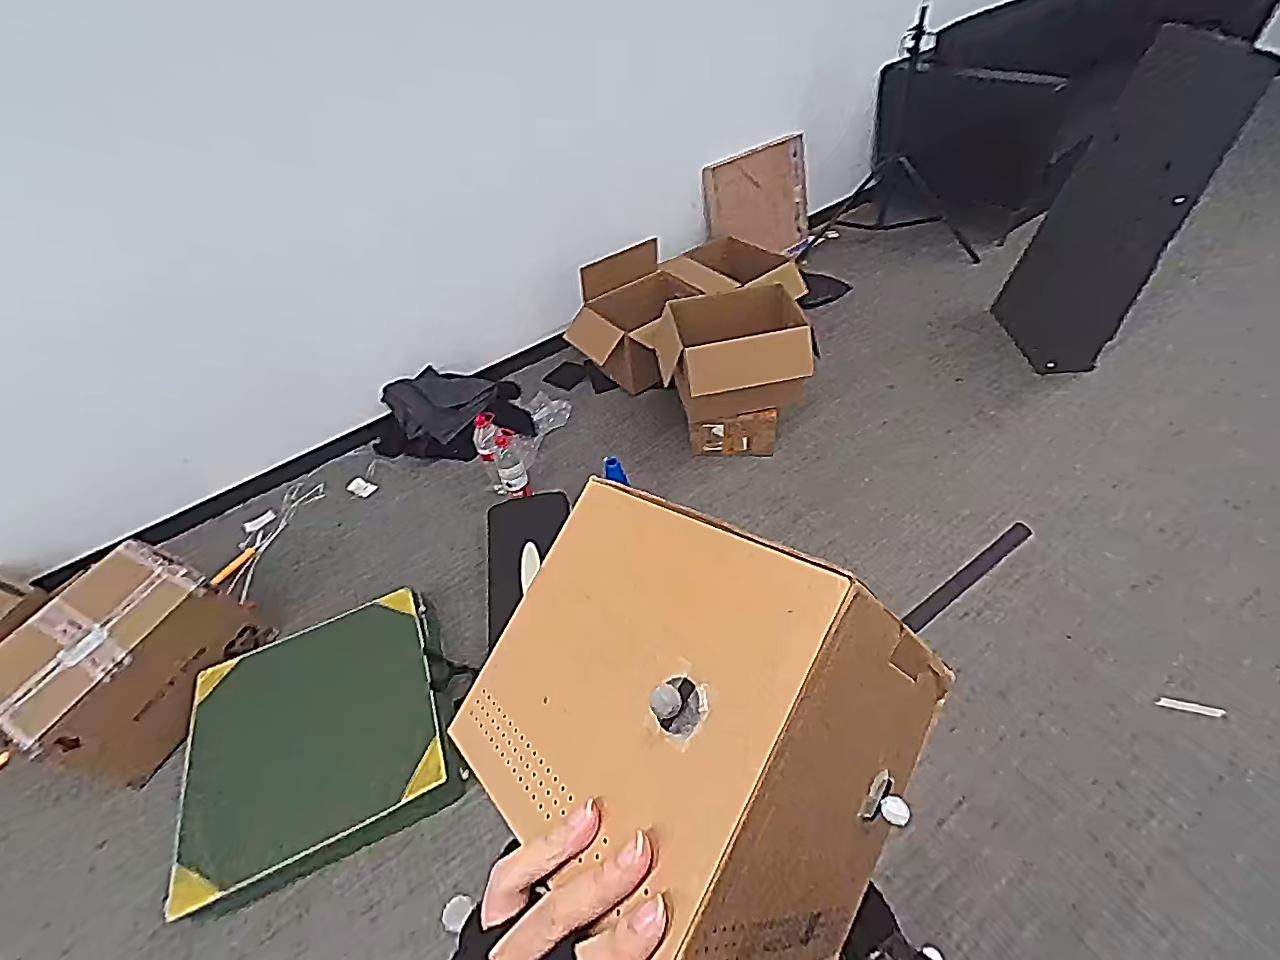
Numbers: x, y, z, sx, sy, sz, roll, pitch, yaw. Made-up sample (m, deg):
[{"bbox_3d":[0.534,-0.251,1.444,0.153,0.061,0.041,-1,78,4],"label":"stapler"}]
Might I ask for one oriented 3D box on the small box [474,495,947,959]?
[{"bbox_3d":[0.037,0.135,0.317,0.179,0.168,0.176,19,76,49],"label":"small box"}]
